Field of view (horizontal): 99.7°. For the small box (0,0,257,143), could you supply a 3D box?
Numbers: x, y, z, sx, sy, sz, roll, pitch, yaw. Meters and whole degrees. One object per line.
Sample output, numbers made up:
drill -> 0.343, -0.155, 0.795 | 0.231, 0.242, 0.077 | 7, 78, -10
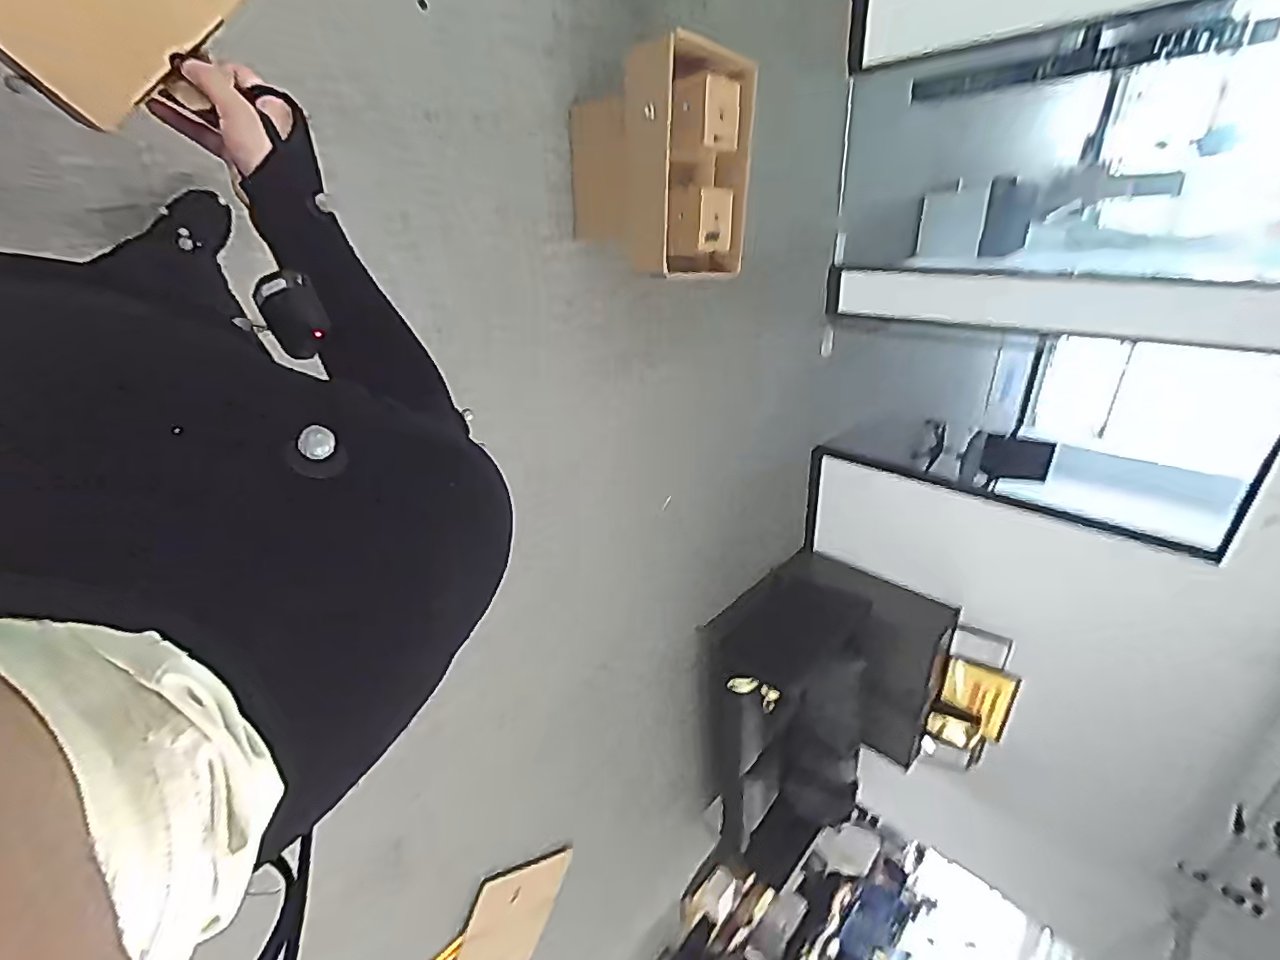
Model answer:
small box -> -0.451, -0.398, 0.406 | 0.168, 0.176, 0.179 | -53, 148, -11

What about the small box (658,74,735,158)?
small box -> 0.165, -1.079, 1.617 | 0.168, 0.176, 0.179 | -24, 123, -41
